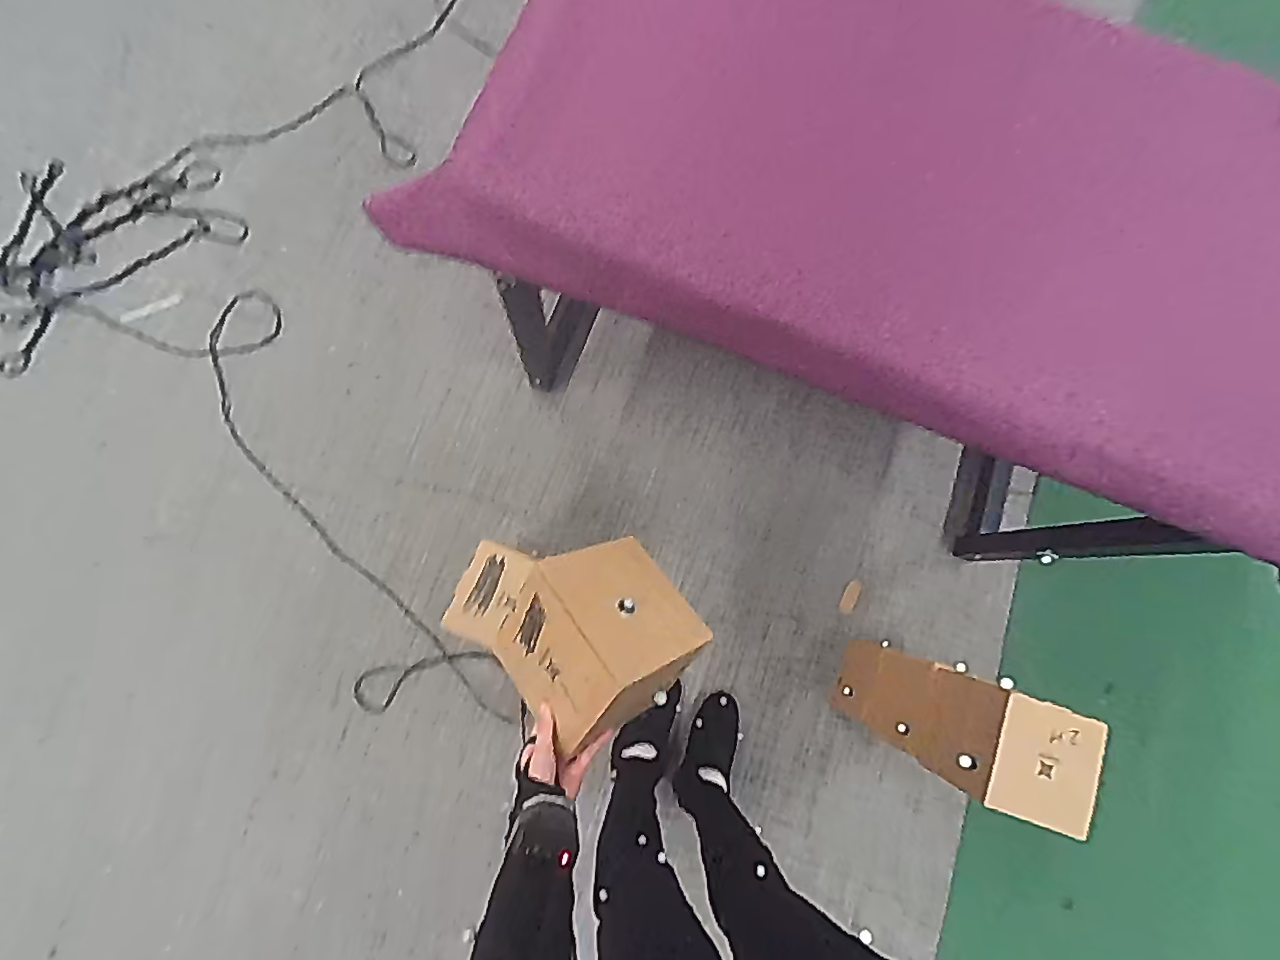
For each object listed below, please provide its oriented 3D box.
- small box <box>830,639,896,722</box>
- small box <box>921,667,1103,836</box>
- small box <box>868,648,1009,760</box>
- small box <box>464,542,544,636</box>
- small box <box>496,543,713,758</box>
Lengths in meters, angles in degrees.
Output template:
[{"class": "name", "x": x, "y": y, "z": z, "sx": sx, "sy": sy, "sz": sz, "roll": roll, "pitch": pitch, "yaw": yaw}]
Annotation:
[{"class": "small box", "x": 0.554, "y": 0.467, "z": 1.211, "sx": 0.179, "sy": 0.176, "sz": 0.168, "roll": 22, "pitch": 79, "yaw": -1}, {"class": "small box", "x": 0.597, "y": 0.432, "z": 0.889, "sx": 0.168, "sy": 0.176, "sz": 0.179, "roll": 20, "pitch": 80, "yaw": -2}, {"class": "small box", "x": 0.572, "y": 0.444, "z": 1.052, "sx": 0.168, "sy": 0.176, "sz": 0.179, "roll": 19, "pitch": 81, "yaw": -2}, {"class": "small box", "x": -0.253, "y": 0.251, "z": 1.177, "sx": 0.168, "sy": 0.176, "sz": 0.179, "roll": 24, "pitch": 80, "yaw": -1}, {"class": "small box", "x": -0.046, "y": 0.196, "z": 0.674, "sx": 0.176, "sy": 0.168, "sz": 0.179, "roll": -11, "pitch": 51, "yaw": -46}]
